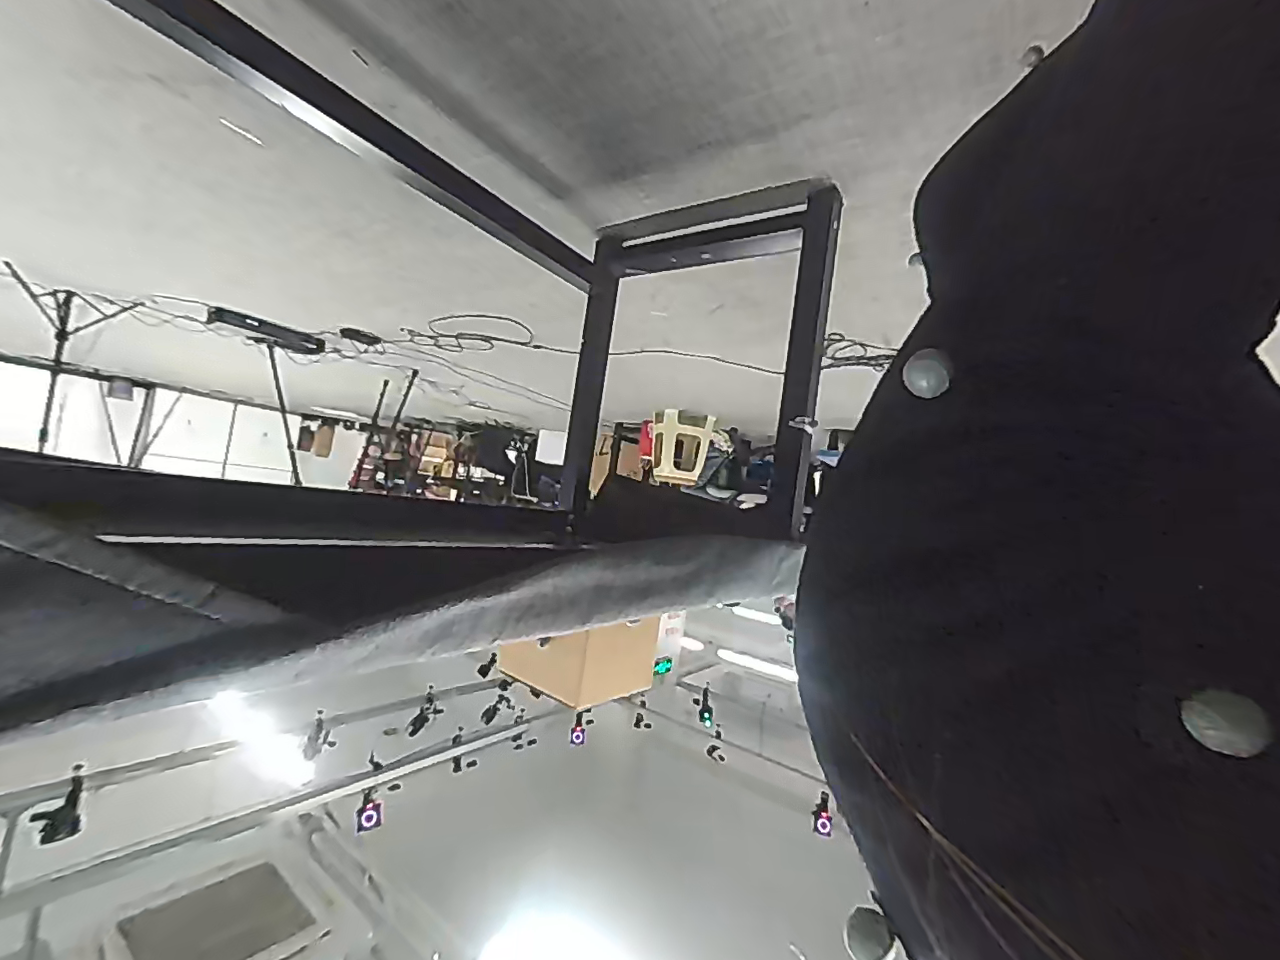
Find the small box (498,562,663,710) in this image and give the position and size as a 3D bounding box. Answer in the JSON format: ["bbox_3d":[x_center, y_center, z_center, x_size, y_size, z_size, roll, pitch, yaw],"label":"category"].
[{"bbox_3d":[-0.084,0.218,0.814,0.179,0.176,0.168,6,177,39],"label":"small box"}]
